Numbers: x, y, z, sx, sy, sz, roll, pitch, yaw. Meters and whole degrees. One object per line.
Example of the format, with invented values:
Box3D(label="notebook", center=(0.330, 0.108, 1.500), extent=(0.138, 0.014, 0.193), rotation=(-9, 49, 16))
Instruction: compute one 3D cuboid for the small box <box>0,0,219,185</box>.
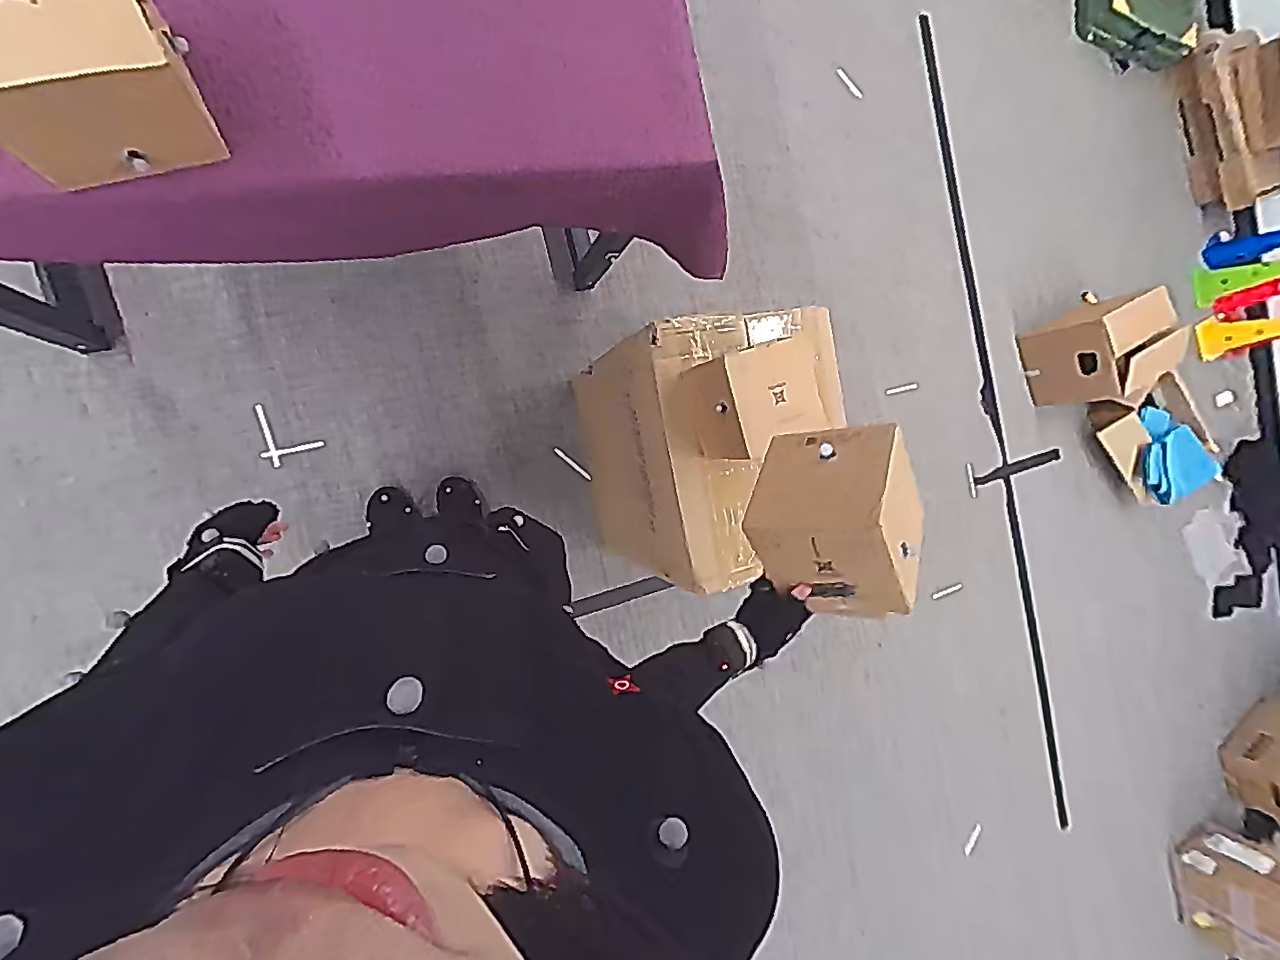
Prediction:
Box3D(label="small box", center=(-0.576, -0.437, 0.553), extent=(0.179, 0.176, 0.168), rotation=(-26, 98, -19))

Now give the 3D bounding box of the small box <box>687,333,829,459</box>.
Box3D(label="small box", center=(0.202, -0.141, 0.957), extent=(0.168, 0.176, 0.179), rotation=(-19, 98, -17))

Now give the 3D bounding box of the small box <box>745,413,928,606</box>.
Box3D(label="small box", center=(0.262, 0.039, 0.698), extent=(0.179, 0.168, 0.176), rotation=(53, 48, -33))
